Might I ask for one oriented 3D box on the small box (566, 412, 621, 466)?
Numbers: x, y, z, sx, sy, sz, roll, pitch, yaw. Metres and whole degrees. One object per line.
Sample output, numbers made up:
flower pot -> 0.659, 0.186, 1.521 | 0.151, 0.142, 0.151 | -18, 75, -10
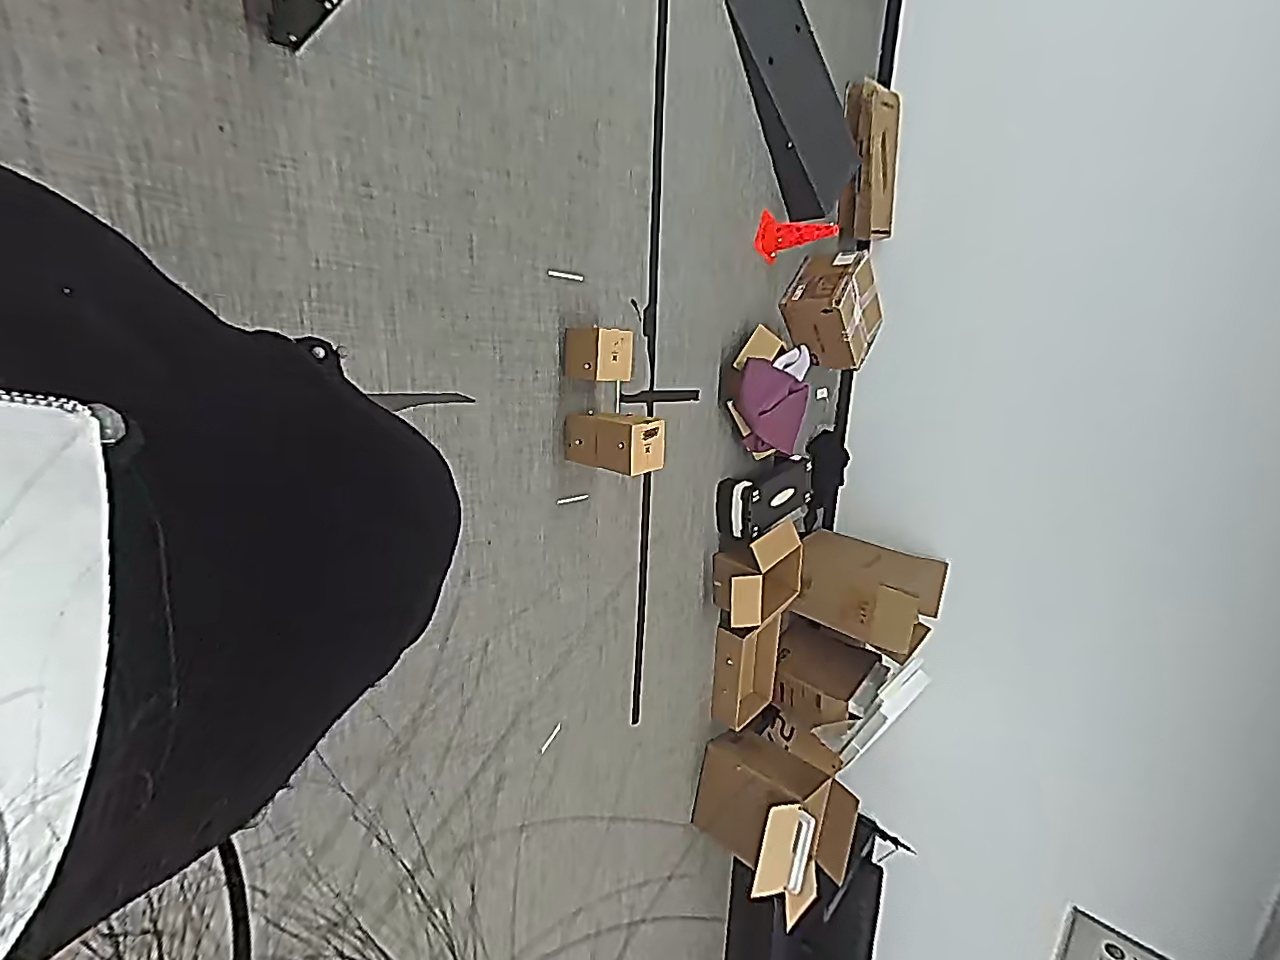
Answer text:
small box -> -0.160, -0.155, 1.987 | 0.179, 0.176, 0.168 | -15, 112, -44

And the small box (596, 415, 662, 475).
small box -> -0.041, -0.129, 1.874 | 0.168, 0.176, 0.179 | -15, 113, -45

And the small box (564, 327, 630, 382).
small box -> -0.156, -0.442, 1.905 | 0.168, 0.176, 0.179 | -10, 108, -46
